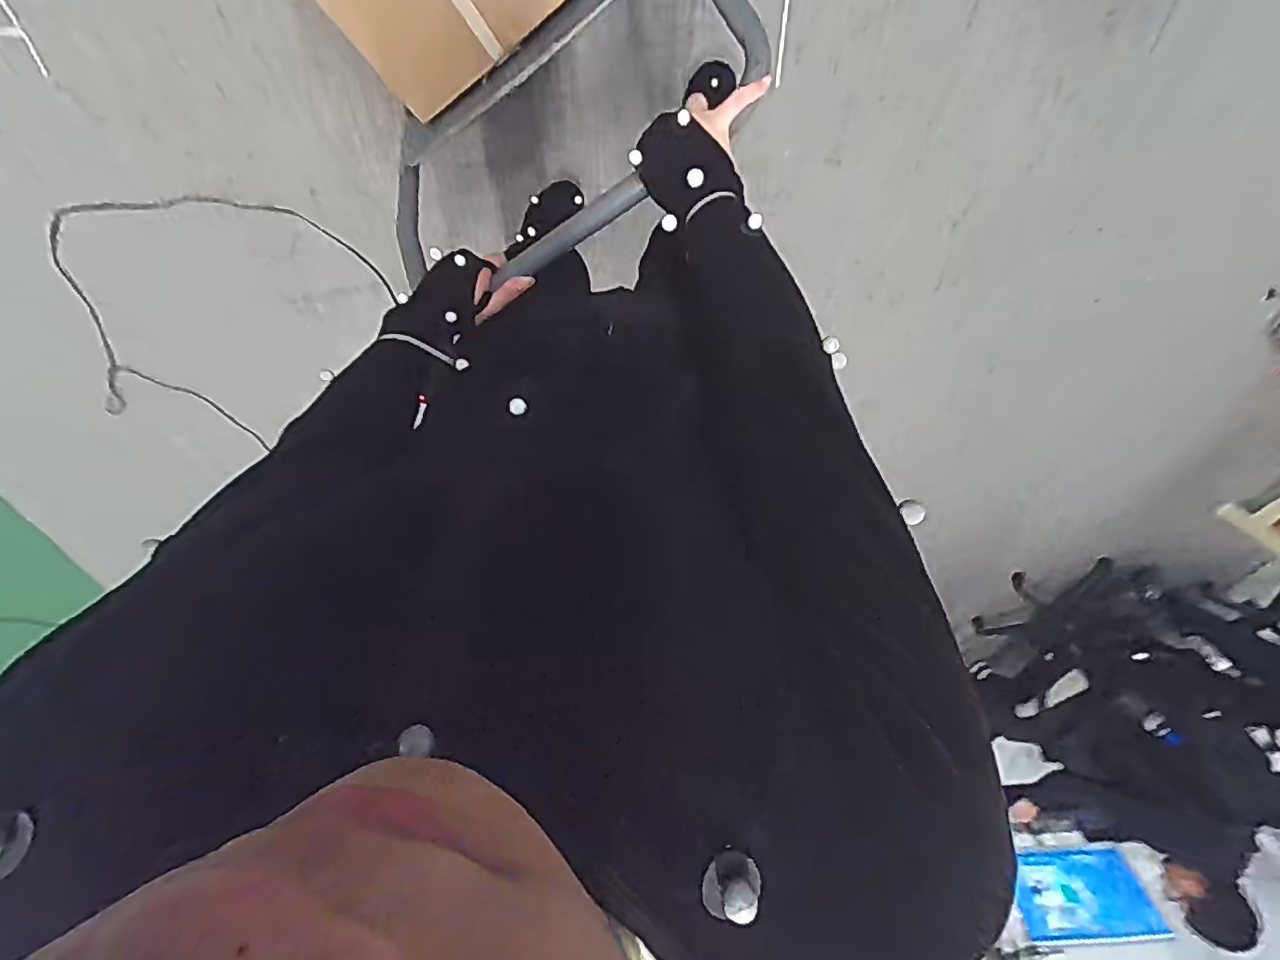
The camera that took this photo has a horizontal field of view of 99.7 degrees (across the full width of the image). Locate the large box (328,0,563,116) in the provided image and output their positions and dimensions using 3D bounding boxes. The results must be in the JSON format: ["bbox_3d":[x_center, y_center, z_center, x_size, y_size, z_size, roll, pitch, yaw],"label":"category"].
[{"bbox_3d":[-0.323,-0.833,0.739,0.320,0.320,0.408,-27,141,19],"label":"large box"}]
